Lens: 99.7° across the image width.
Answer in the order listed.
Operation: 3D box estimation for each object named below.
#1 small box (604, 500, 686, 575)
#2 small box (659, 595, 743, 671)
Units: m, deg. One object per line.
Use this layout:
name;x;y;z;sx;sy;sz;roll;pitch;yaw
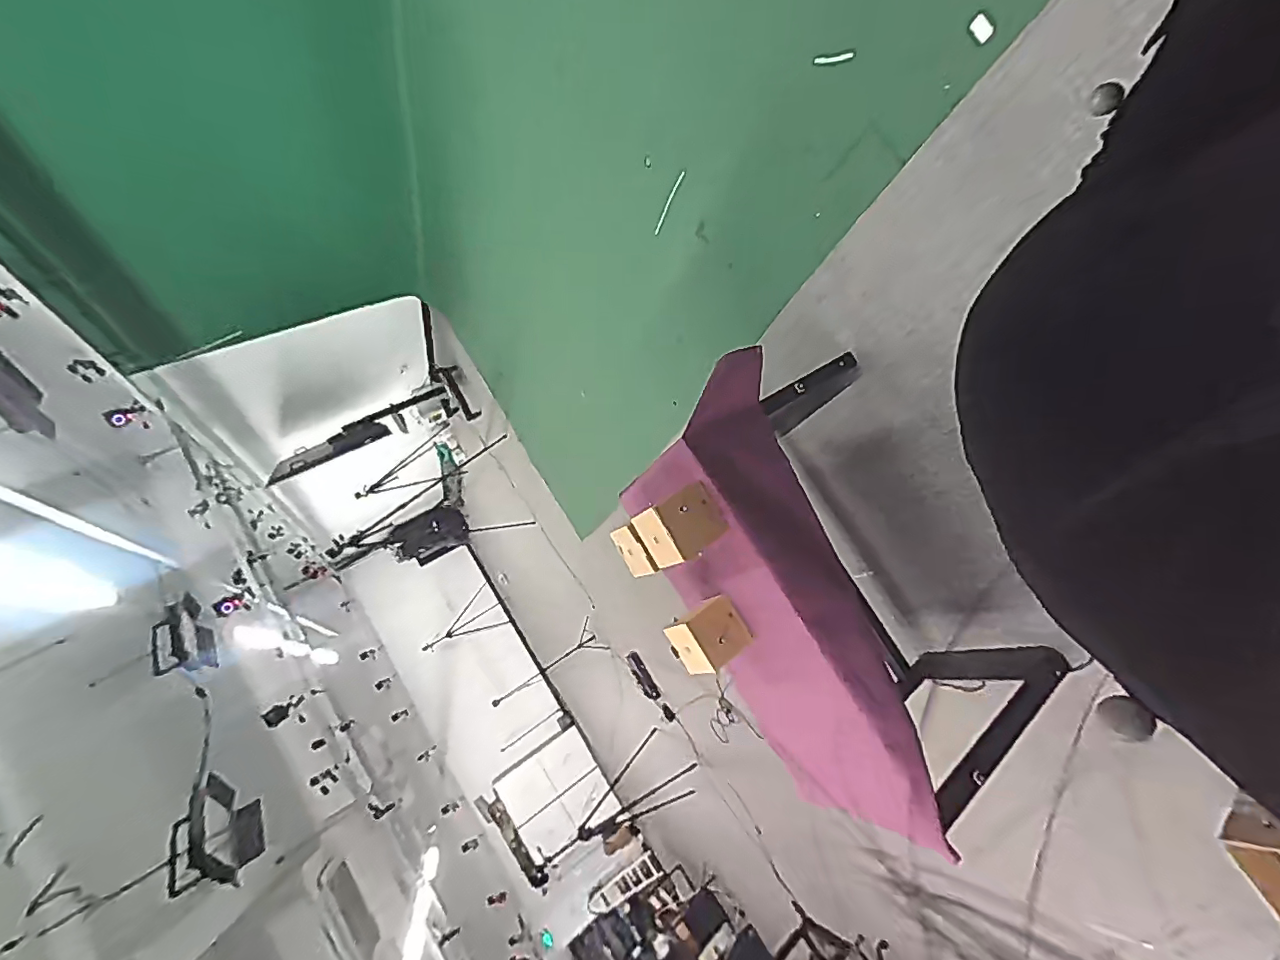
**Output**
small box;0.021;0.178;1.687;0.168;0.176;0.179;61;153;1
small box;0.193;0.471;1.672;0.168;0.176;0.179;58;154;7
